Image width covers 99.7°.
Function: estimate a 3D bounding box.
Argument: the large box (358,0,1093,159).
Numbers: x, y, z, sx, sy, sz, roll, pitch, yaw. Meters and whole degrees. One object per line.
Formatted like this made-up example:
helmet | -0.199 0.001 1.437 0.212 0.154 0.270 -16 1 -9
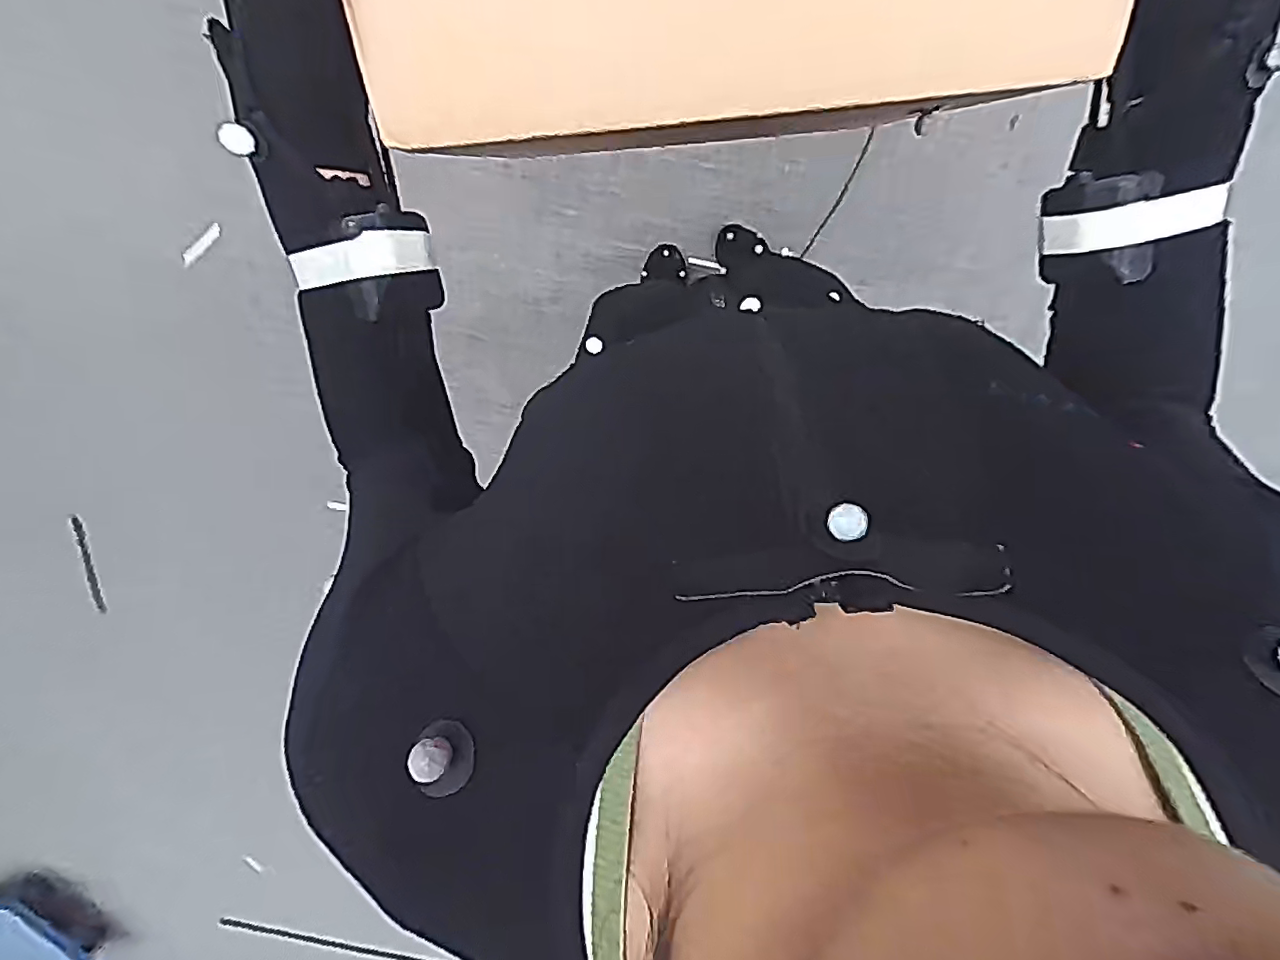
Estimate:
large box | 0.038 -0.420 0.370 0.408 0.320 0.320 -4 119 3
